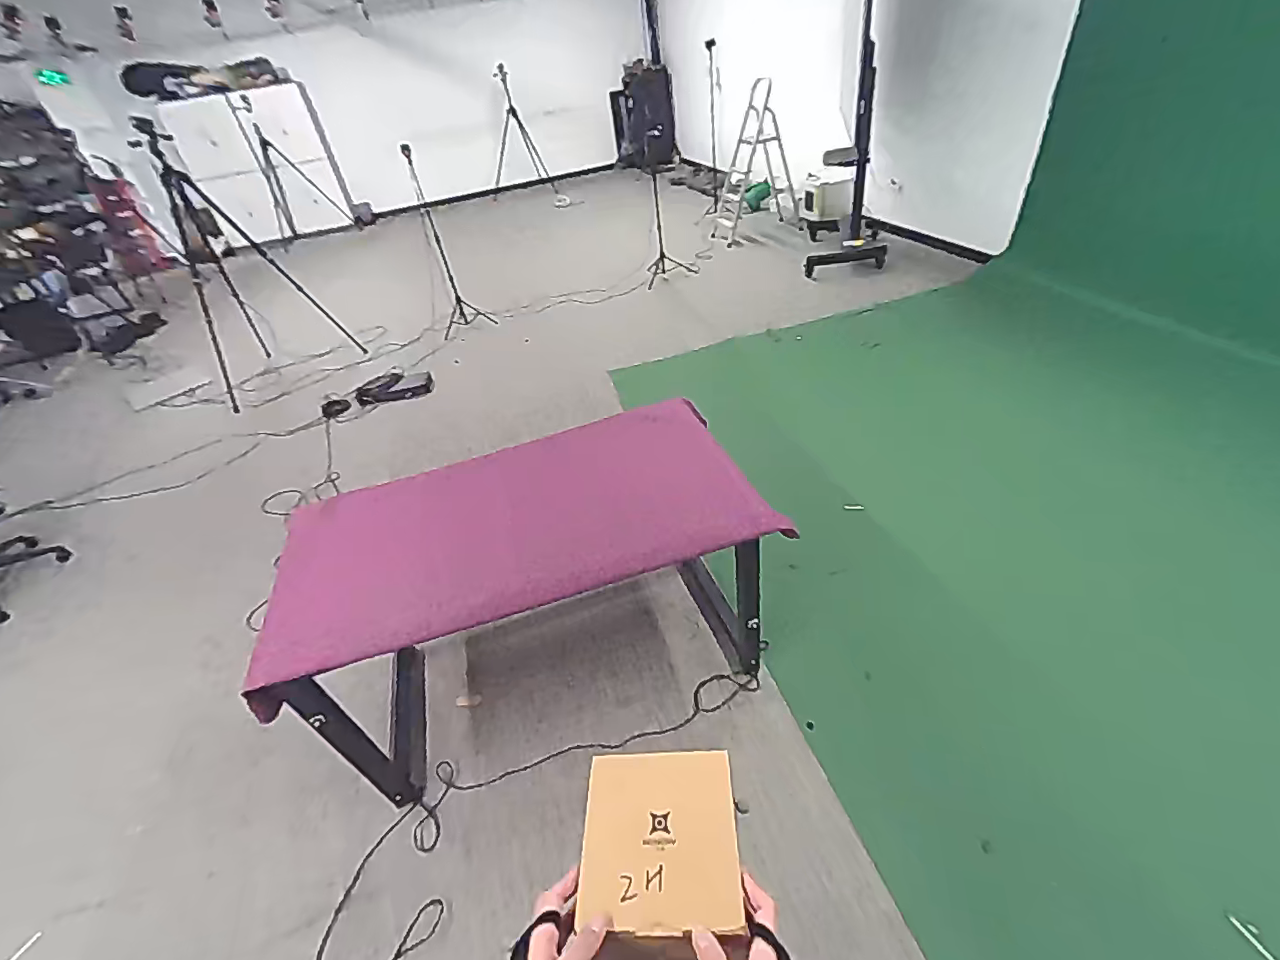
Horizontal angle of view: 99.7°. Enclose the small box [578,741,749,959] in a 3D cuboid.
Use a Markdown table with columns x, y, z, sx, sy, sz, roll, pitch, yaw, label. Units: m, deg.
| x | y | z | sx | sy | sz | roll | pitch | yaw | label |
| --- | --- | --- | --- | --- | --- | --- | --- | --- | --- |
| 0.033 | 0.432 | 0.627 | 0.168 | 0.176 | 0.179 | -6 | 35 | 6 | small box |
